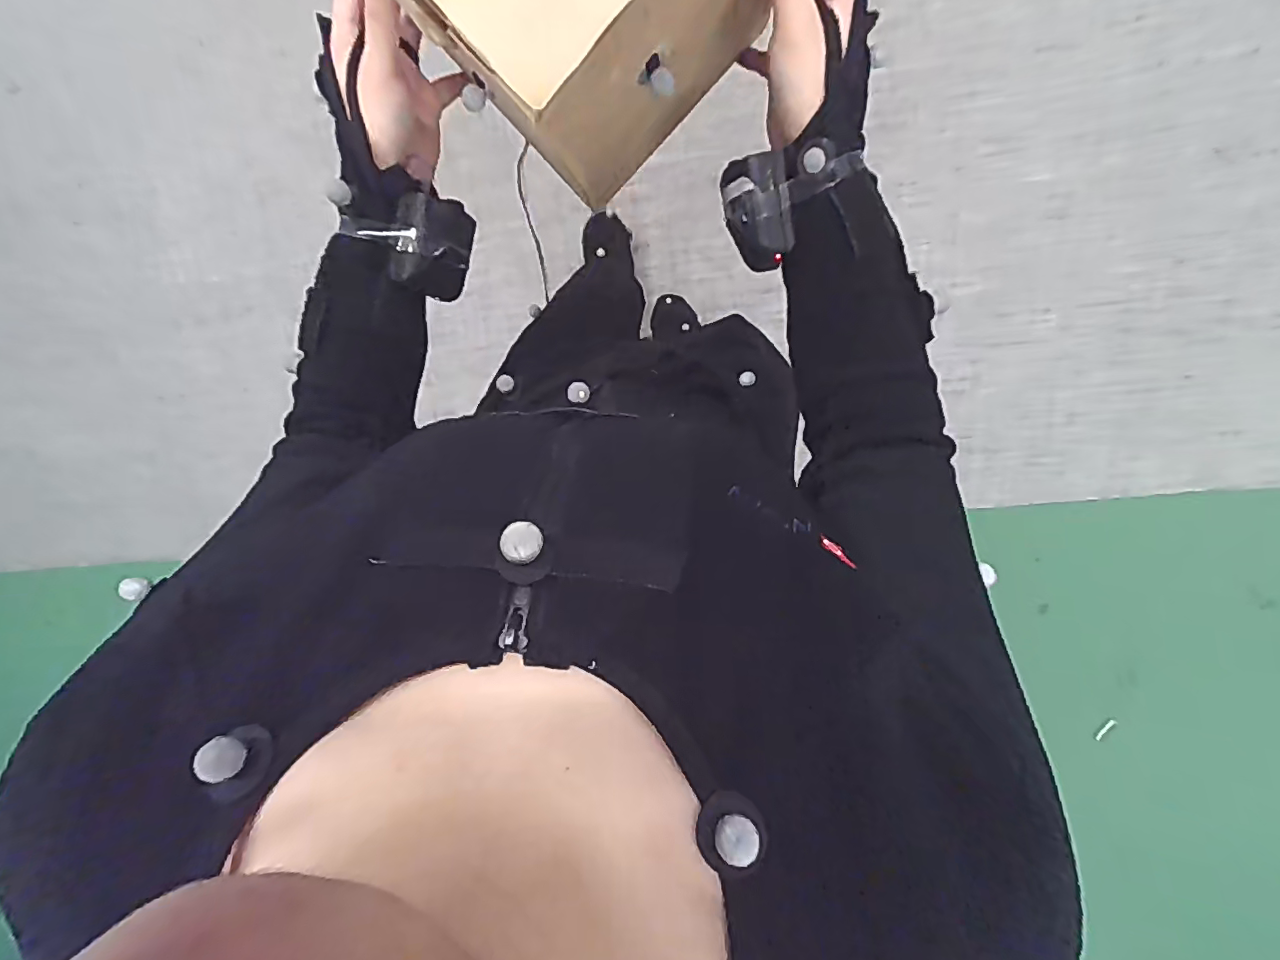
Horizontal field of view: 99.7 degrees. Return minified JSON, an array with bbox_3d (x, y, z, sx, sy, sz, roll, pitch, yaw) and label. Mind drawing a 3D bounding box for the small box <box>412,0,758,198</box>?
[{"bbox_3d":[-0.035,-0.308,0.321,0.179,0.176,0.168,-43,95,13],"label":"small box"}]
